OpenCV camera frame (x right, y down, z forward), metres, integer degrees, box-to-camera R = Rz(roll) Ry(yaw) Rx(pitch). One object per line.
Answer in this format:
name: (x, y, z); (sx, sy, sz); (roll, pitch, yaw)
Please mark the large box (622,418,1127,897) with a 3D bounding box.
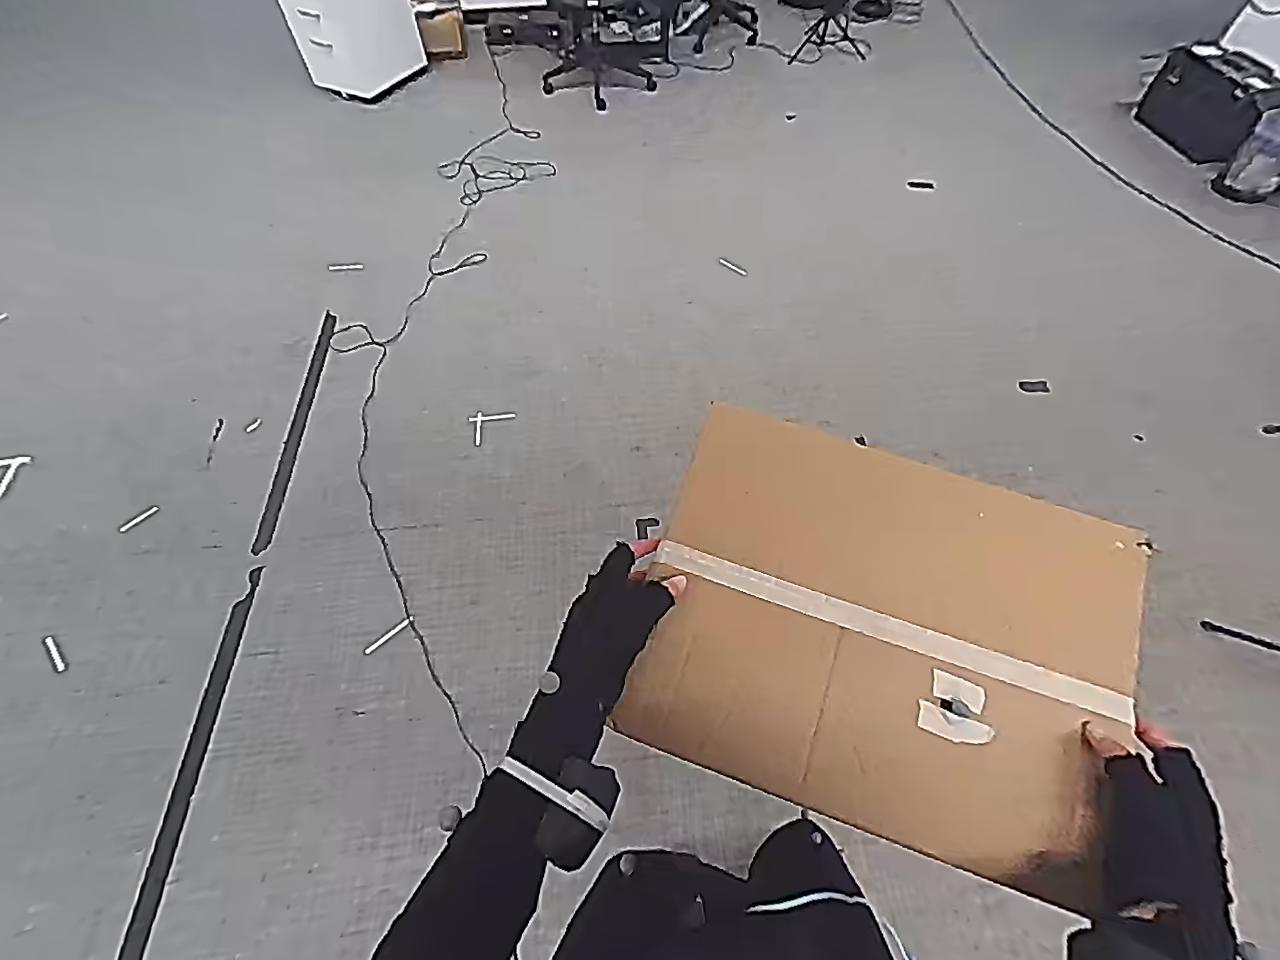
large box: (0.219, 0.174, 0.628); (0.408, 0.320, 0.320); (19, 76, 7)
